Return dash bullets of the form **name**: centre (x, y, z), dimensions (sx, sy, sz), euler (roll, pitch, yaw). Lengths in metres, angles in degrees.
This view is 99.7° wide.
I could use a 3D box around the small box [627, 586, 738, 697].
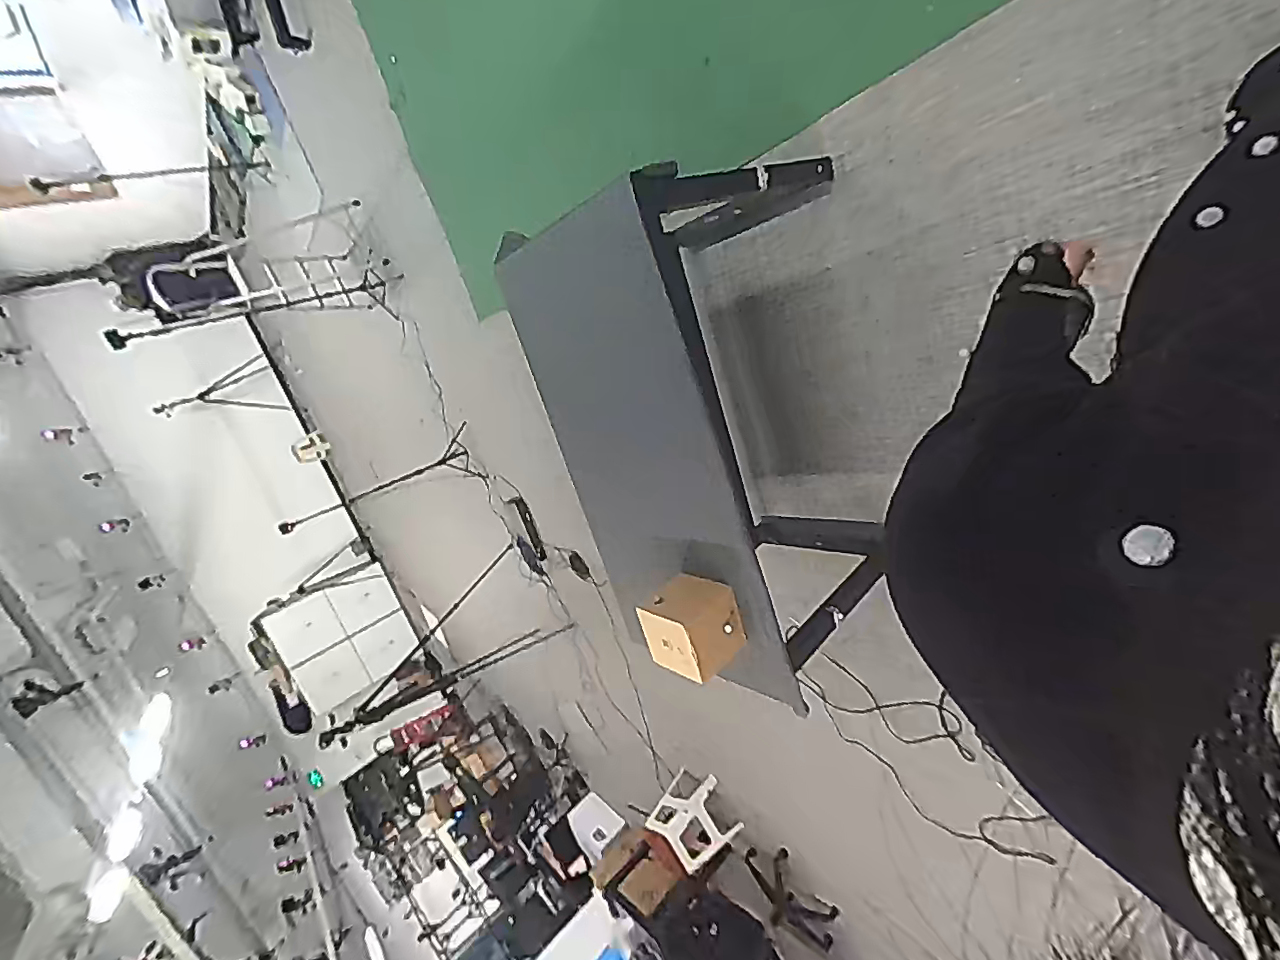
- **small box**: centre (0.103, 0.372, 1.285), dimensions (0.179, 0.176, 0.168), euler (3, 116, 49)
